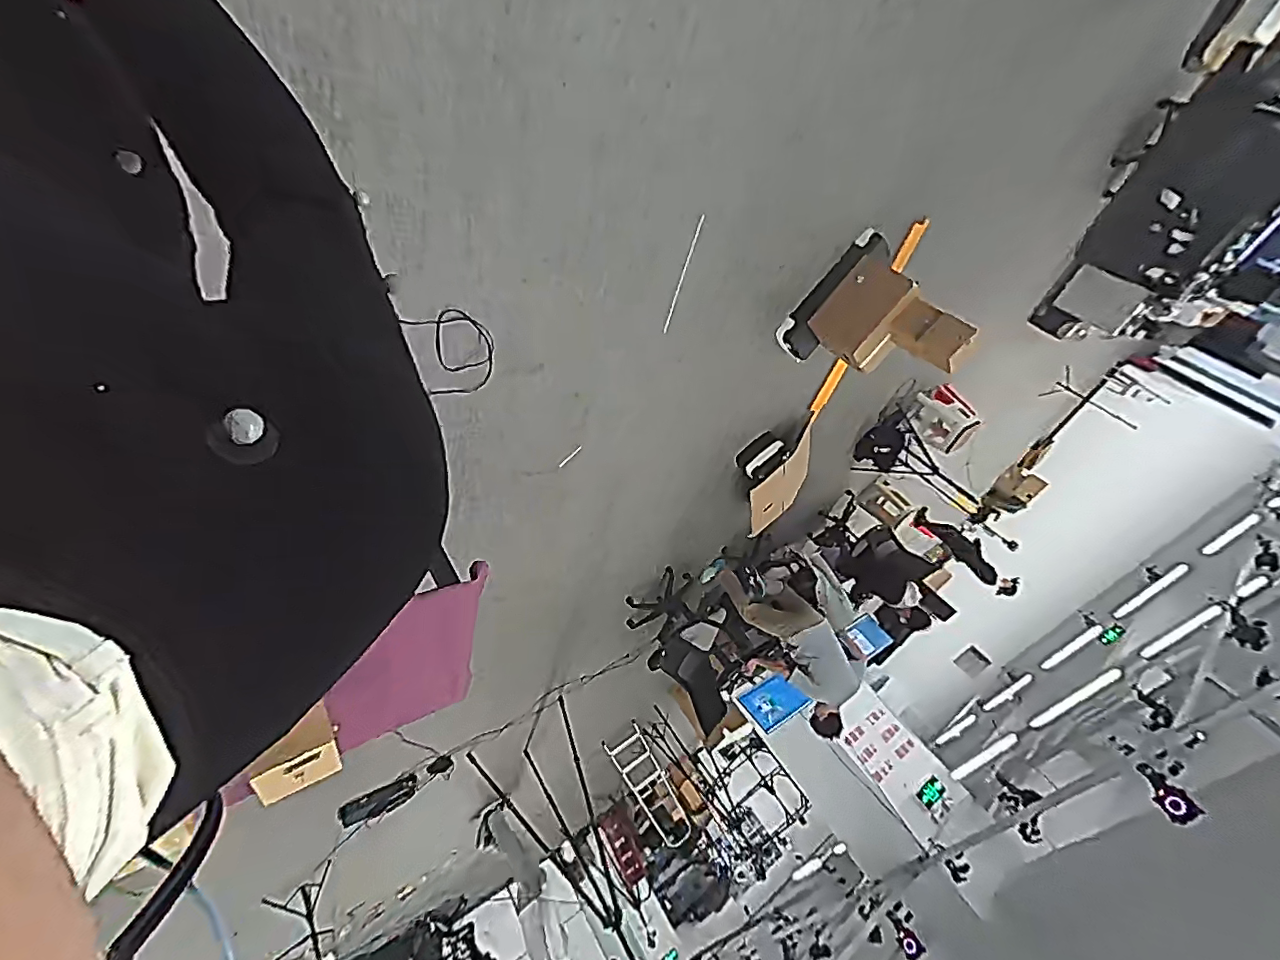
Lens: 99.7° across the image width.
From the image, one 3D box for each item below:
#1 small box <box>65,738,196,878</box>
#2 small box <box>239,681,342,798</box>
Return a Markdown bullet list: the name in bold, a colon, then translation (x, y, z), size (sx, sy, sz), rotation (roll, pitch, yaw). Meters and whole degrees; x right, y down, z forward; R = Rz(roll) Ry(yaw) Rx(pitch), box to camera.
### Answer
- **small box**: translation (-1.065, 0.682, 1.138), size (0.168, 0.176, 0.179), rotation (-15, 141, -36)
- **small box**: translation (-0.834, 0.611, 1.294), size (0.168, 0.176, 0.179), rotation (-16, 143, -33)
